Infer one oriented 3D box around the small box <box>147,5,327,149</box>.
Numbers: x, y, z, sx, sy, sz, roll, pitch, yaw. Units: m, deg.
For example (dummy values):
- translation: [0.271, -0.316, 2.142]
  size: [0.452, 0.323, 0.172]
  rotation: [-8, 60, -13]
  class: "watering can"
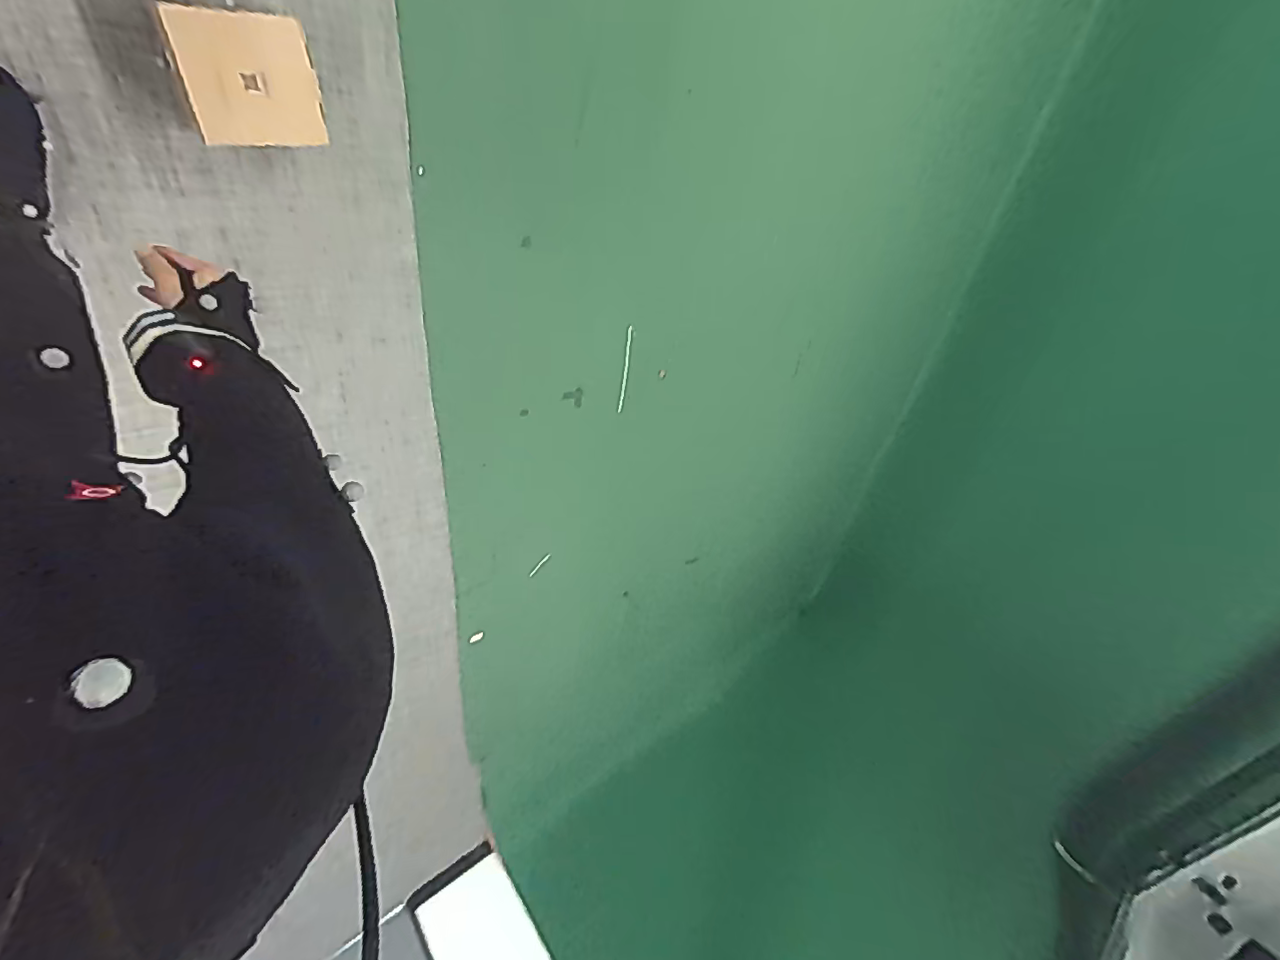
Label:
- translation: [-0.631, -0.632, 0.854]
  size: [0.179, 0.176, 0.168]
  rotation: [-22, 135, -32]
  class: "small box"
